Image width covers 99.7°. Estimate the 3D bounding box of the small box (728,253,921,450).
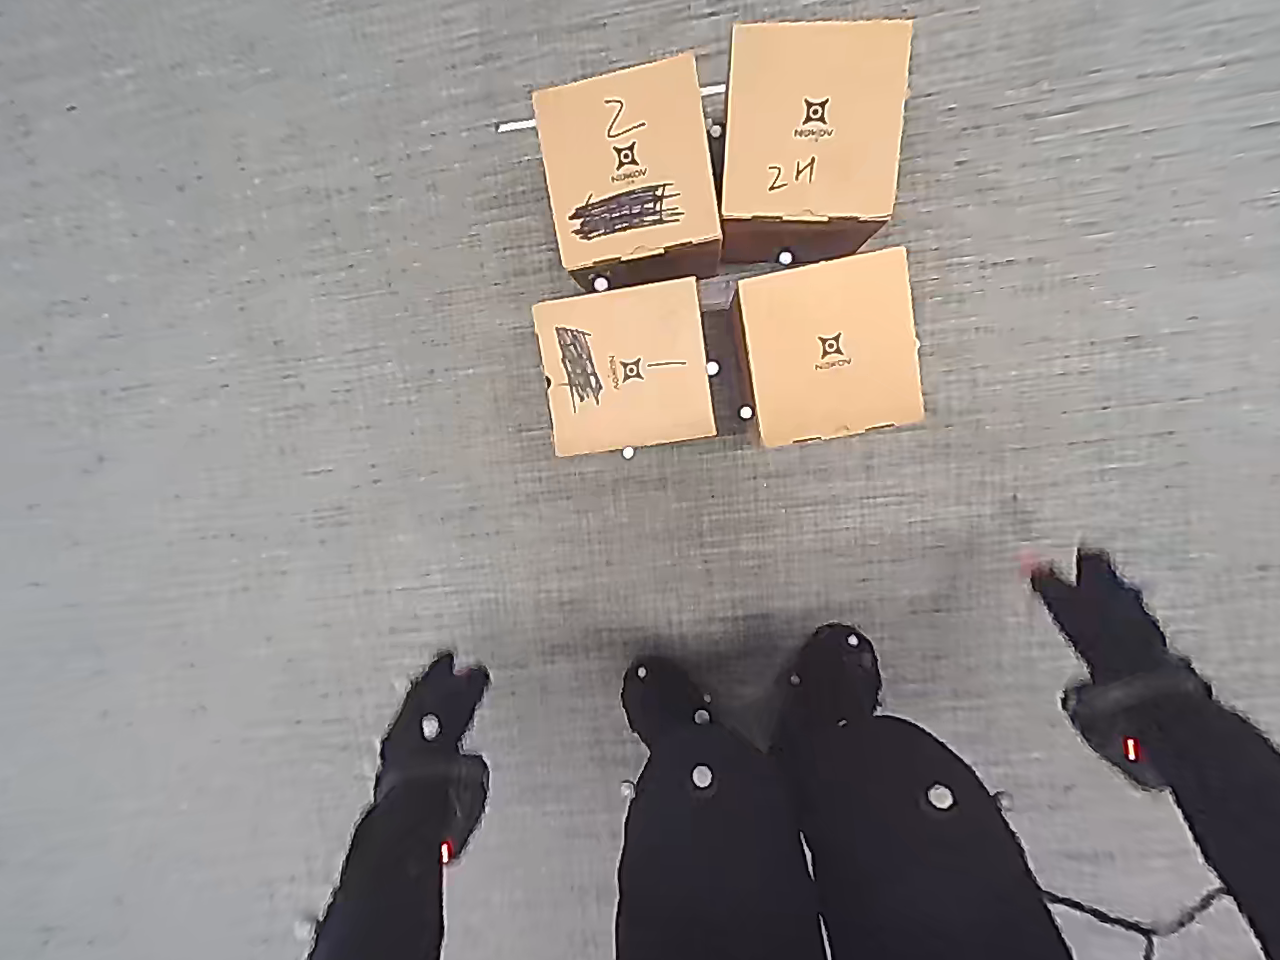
[{"bbox_3d":[0.199,-0.138,0.628,0.168,0.176,0.179,-10,98,7],"label":"small box"}]
